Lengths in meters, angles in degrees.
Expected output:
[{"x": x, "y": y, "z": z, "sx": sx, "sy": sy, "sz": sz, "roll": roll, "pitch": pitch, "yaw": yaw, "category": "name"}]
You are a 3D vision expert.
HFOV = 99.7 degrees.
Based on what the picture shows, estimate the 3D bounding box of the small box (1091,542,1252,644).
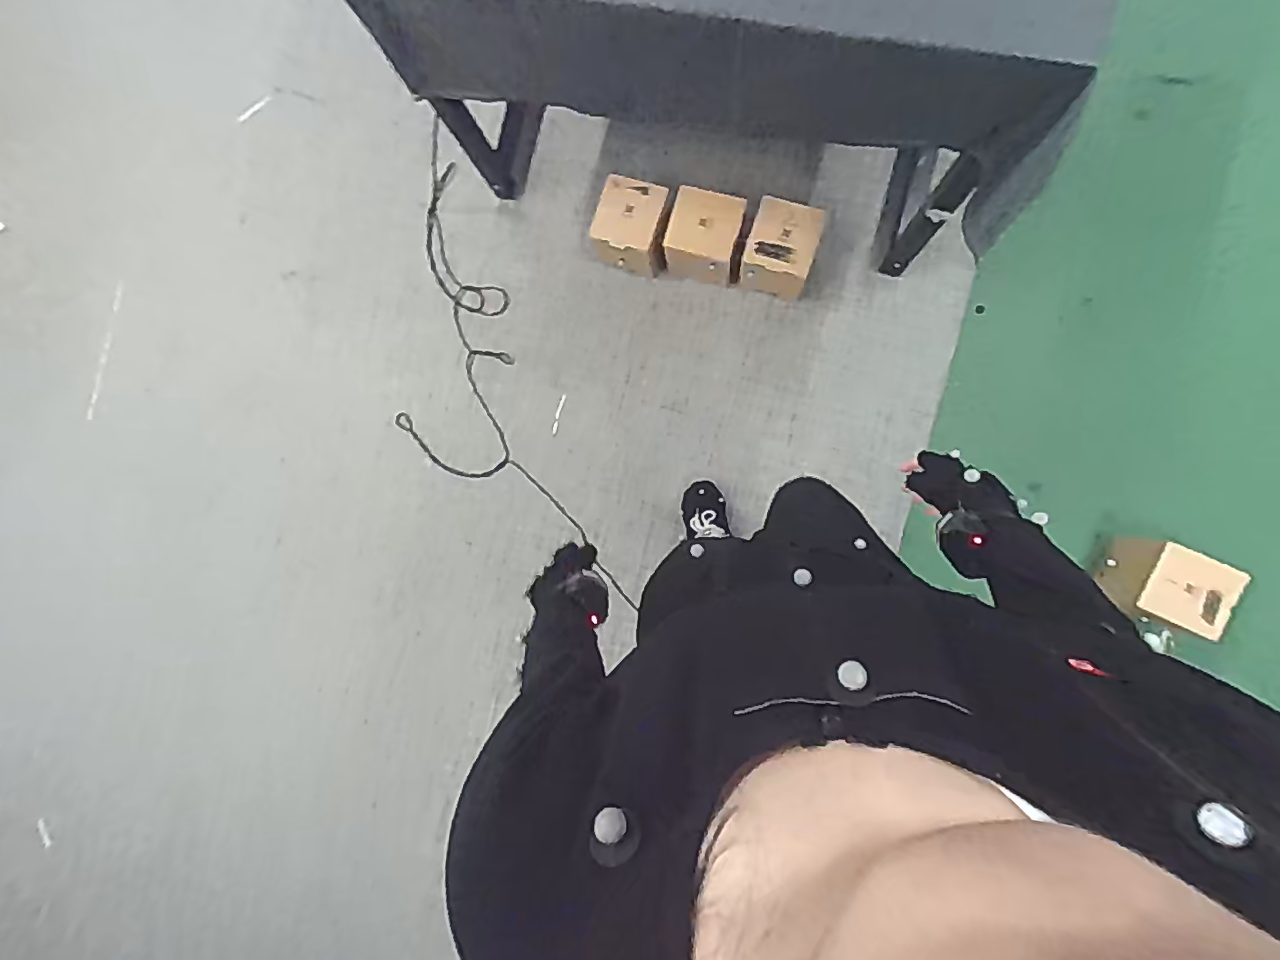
[{"x": 1.224, "y": 0.253, "z": 1.260, "sx": 0.179, "sy": 0.176, "sz": 0.168, "roll": 25, "pitch": 90, "yaw": 8, "category": "small box"}]
